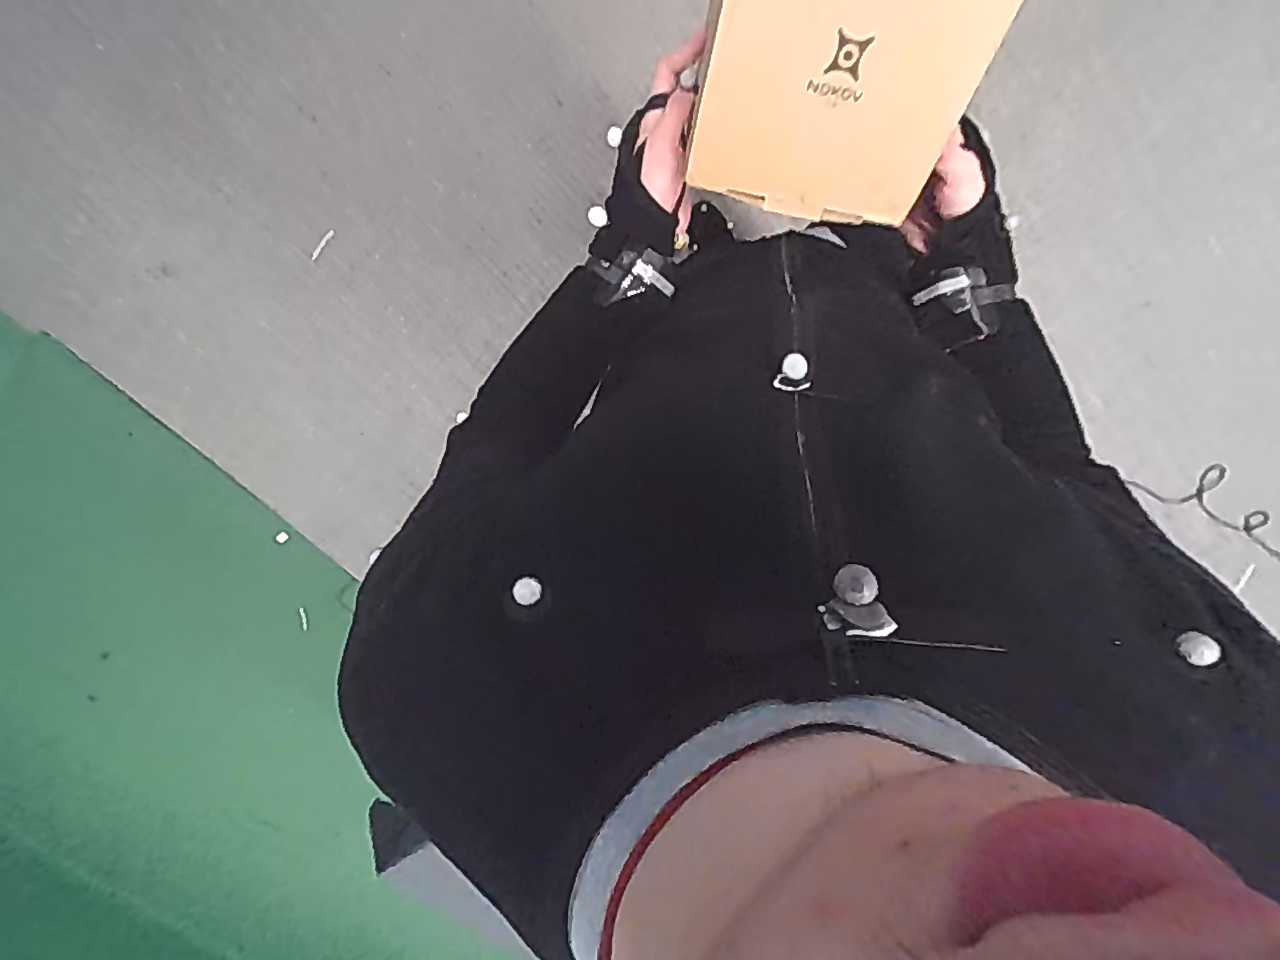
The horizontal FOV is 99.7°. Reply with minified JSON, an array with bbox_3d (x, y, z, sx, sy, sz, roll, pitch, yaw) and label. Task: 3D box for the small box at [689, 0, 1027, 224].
[{"bbox_3d":[0.133,-0.315,0.378,0.168,0.176,0.179,7,140,-5],"label":"small box"}]
